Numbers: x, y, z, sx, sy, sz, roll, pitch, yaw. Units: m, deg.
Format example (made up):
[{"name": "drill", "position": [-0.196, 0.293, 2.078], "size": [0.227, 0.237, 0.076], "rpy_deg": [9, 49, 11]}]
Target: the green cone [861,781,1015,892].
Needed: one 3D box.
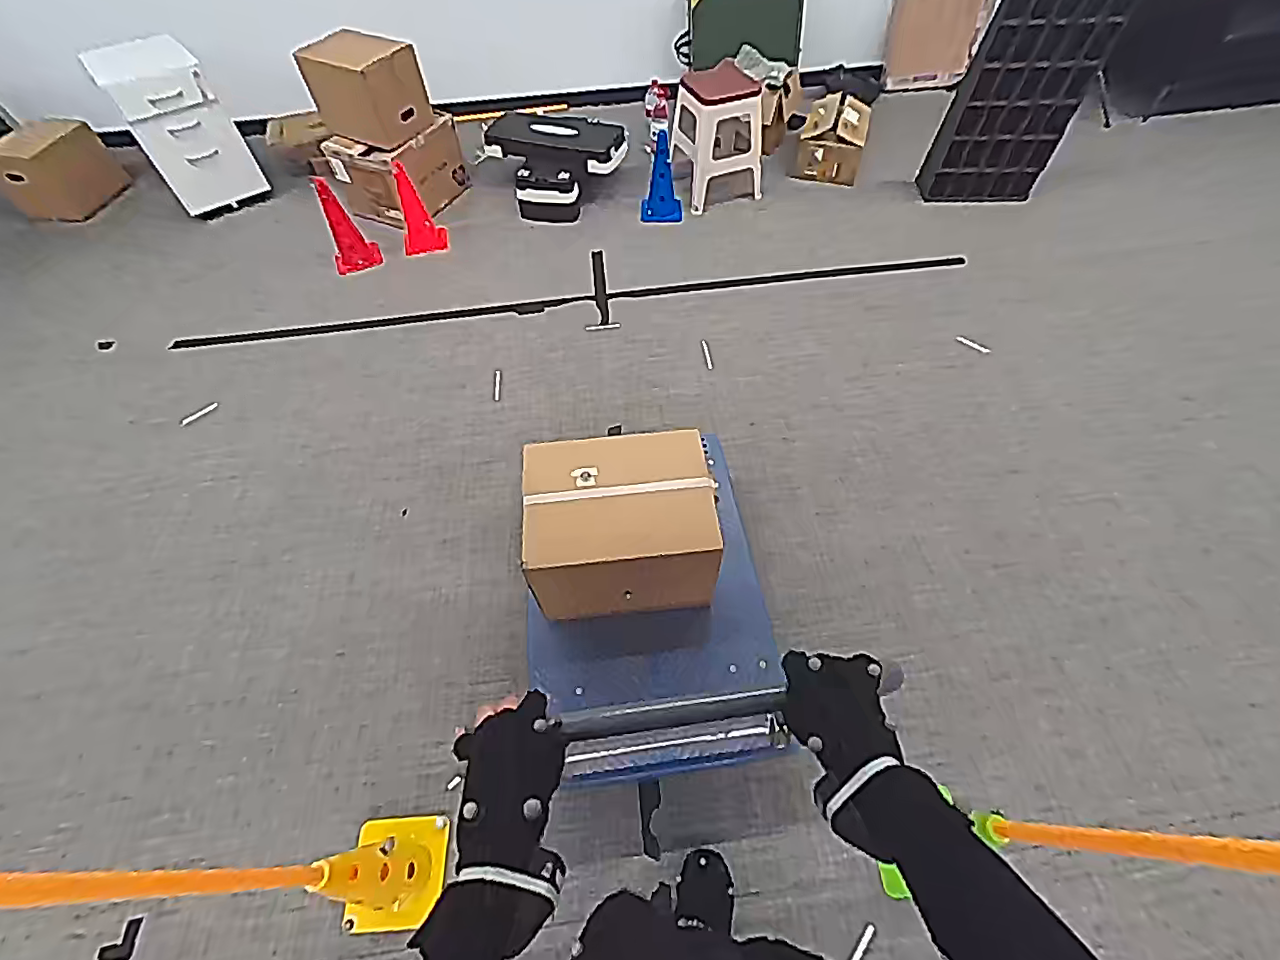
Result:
[{"name": "green cone", "position": [0.604, 0.681, 1.048], "size": [0.202, 0.368, 0.200], "rpy_deg": [-3, 55, -1]}]

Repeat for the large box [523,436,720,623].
[{"name": "large box", "position": [-0.044, 0.127, 1.286], "size": [0.408, 0.320, 0.320], "rpy_deg": [-6, 56, -1]}]
